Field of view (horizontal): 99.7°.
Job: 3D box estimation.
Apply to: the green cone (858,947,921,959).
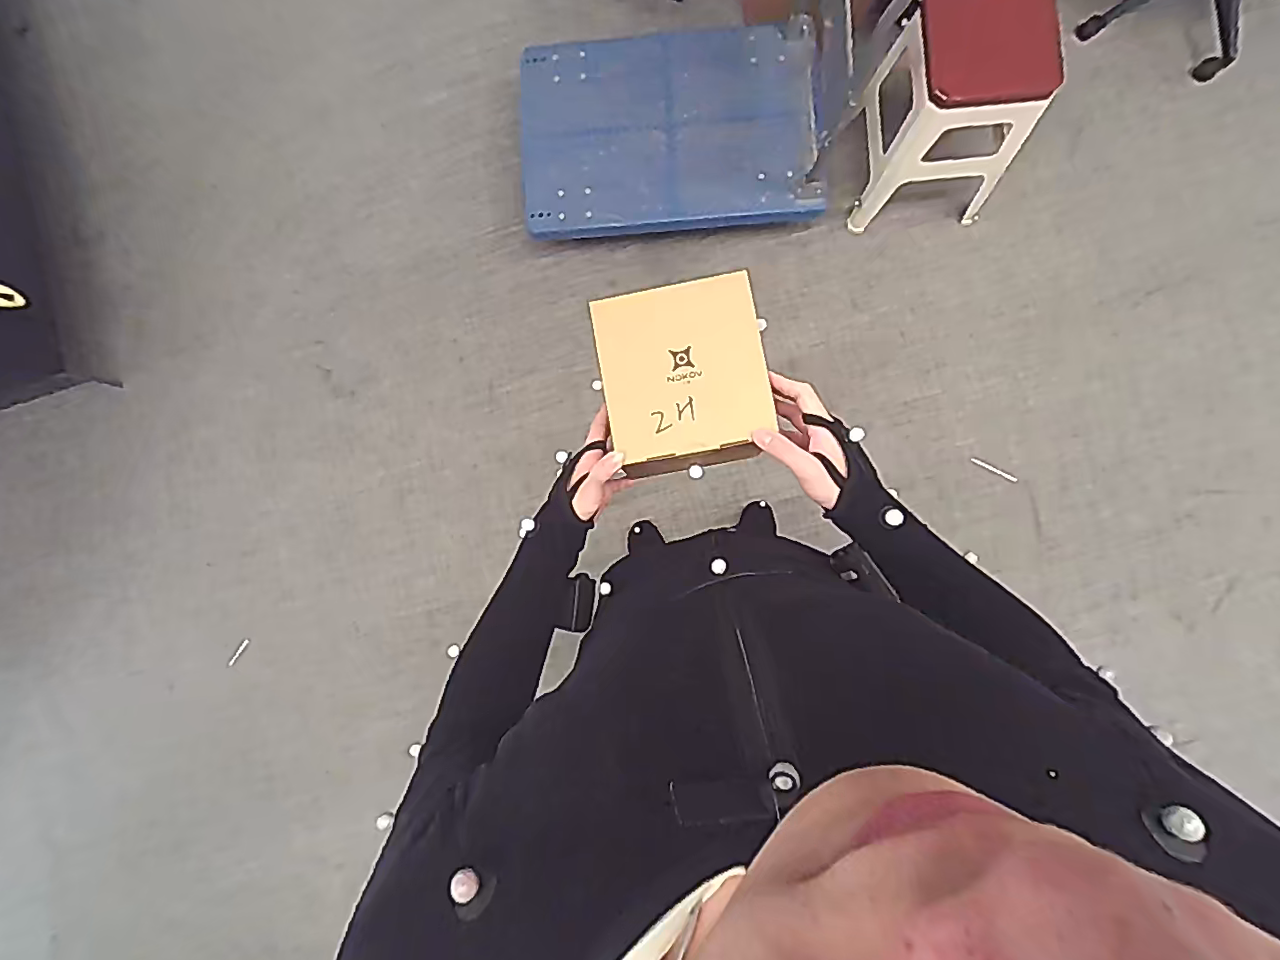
[{"bbox_3d":[0.676,1.376,1.294,0.202,0.368,0.200,-15,85,2],"label":"green cone"}]
